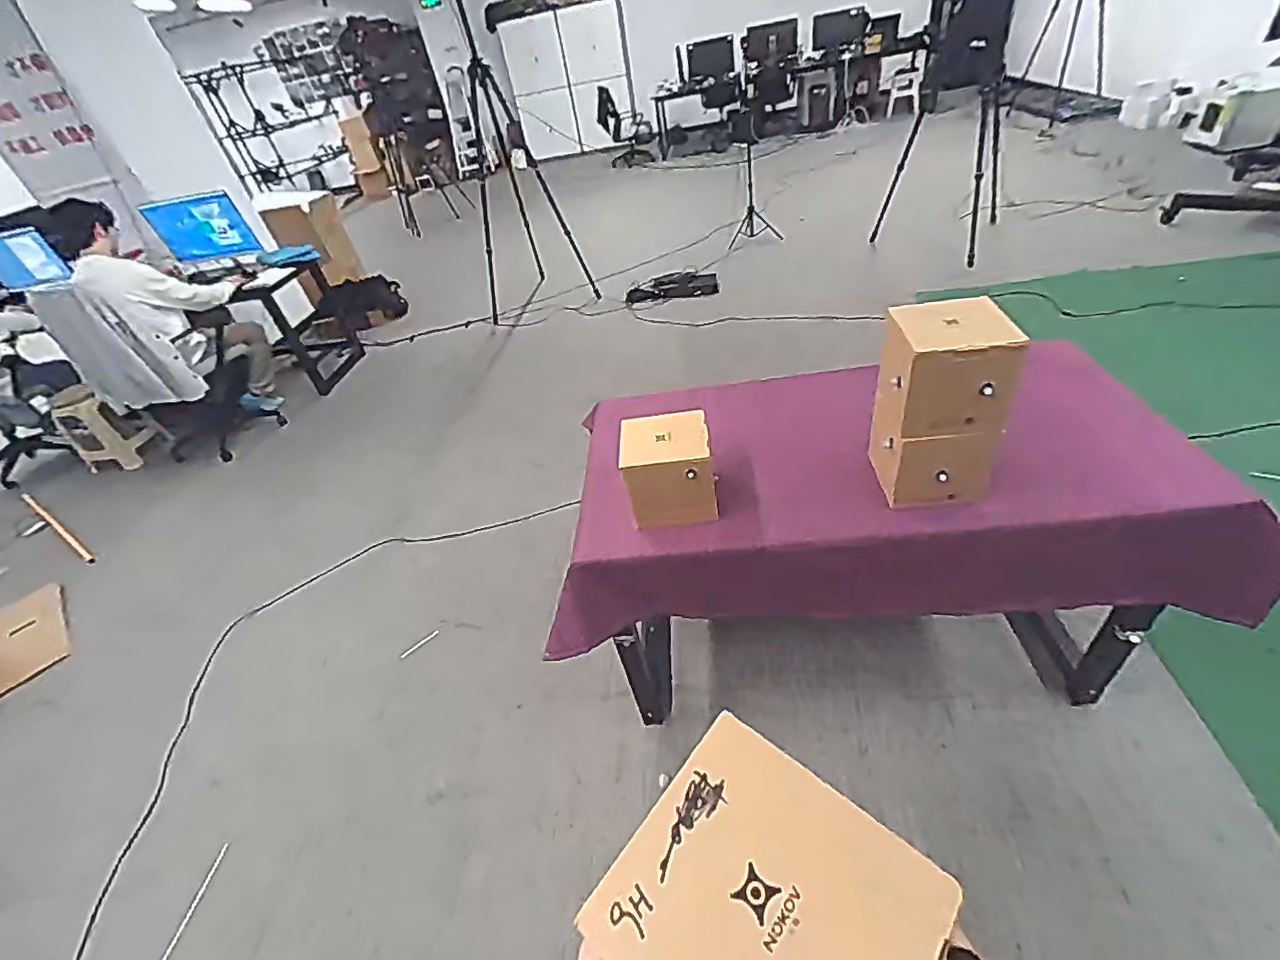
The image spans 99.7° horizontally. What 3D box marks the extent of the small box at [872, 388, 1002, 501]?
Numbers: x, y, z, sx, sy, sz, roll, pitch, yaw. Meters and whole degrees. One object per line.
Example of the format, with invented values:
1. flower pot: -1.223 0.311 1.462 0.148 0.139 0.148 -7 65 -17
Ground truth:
1. small box: 0.555 -0.072 1.037 0.168 0.176 0.179 -5 40 10

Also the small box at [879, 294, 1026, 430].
1. small box: 0.525 -0.198 0.937 0.168 0.176 0.179 -4 40 11

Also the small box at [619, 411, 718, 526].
1. small box: 0.061 -0.019 1.121 0.179 0.176 0.168 -7 39 7
